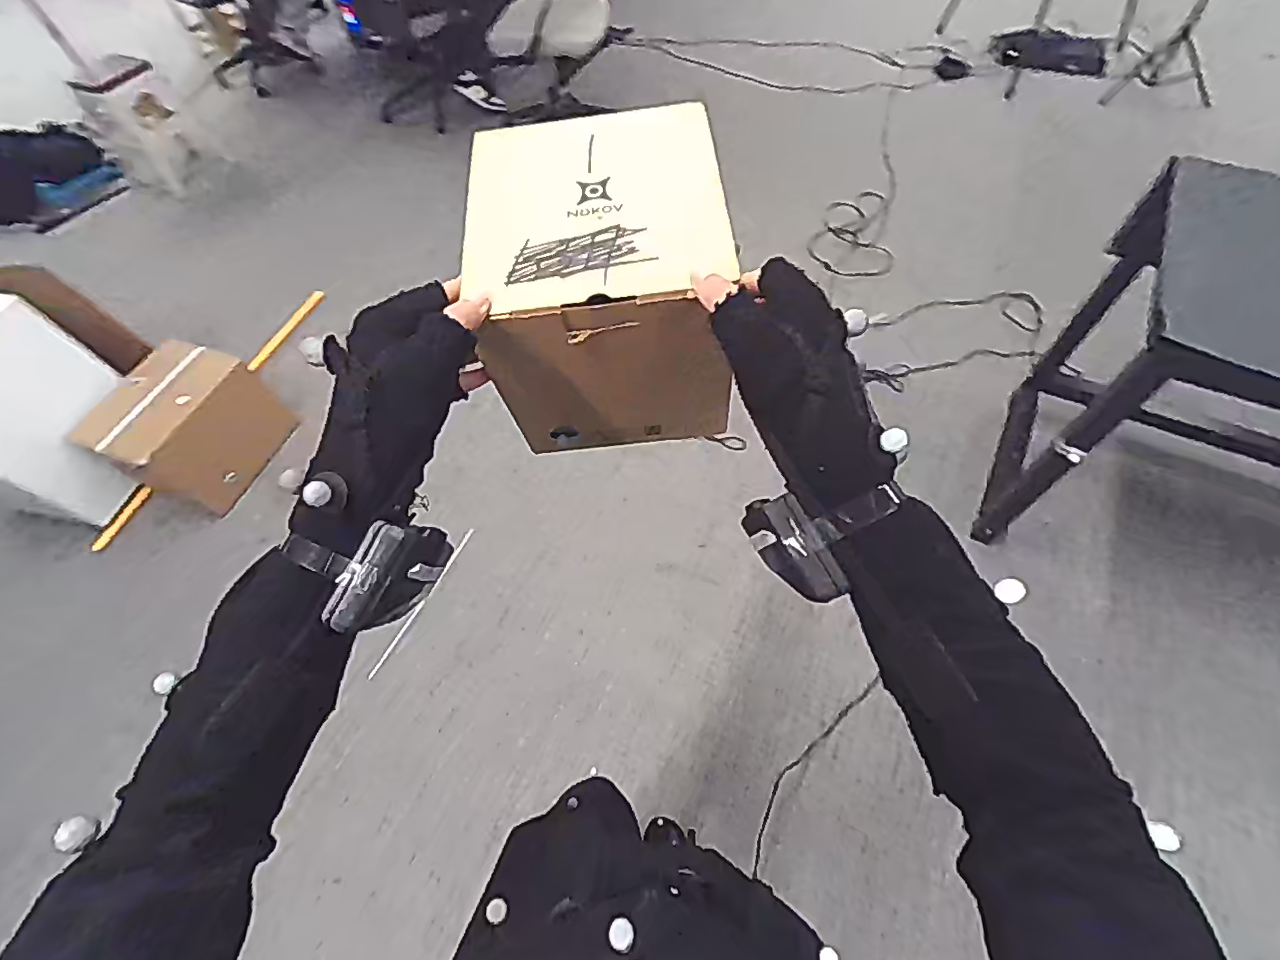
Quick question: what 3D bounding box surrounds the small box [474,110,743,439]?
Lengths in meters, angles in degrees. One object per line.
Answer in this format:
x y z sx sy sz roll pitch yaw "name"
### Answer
-0.016 -0.144 0.425 0.168 0.176 0.179 -6 63 3 "small box"
